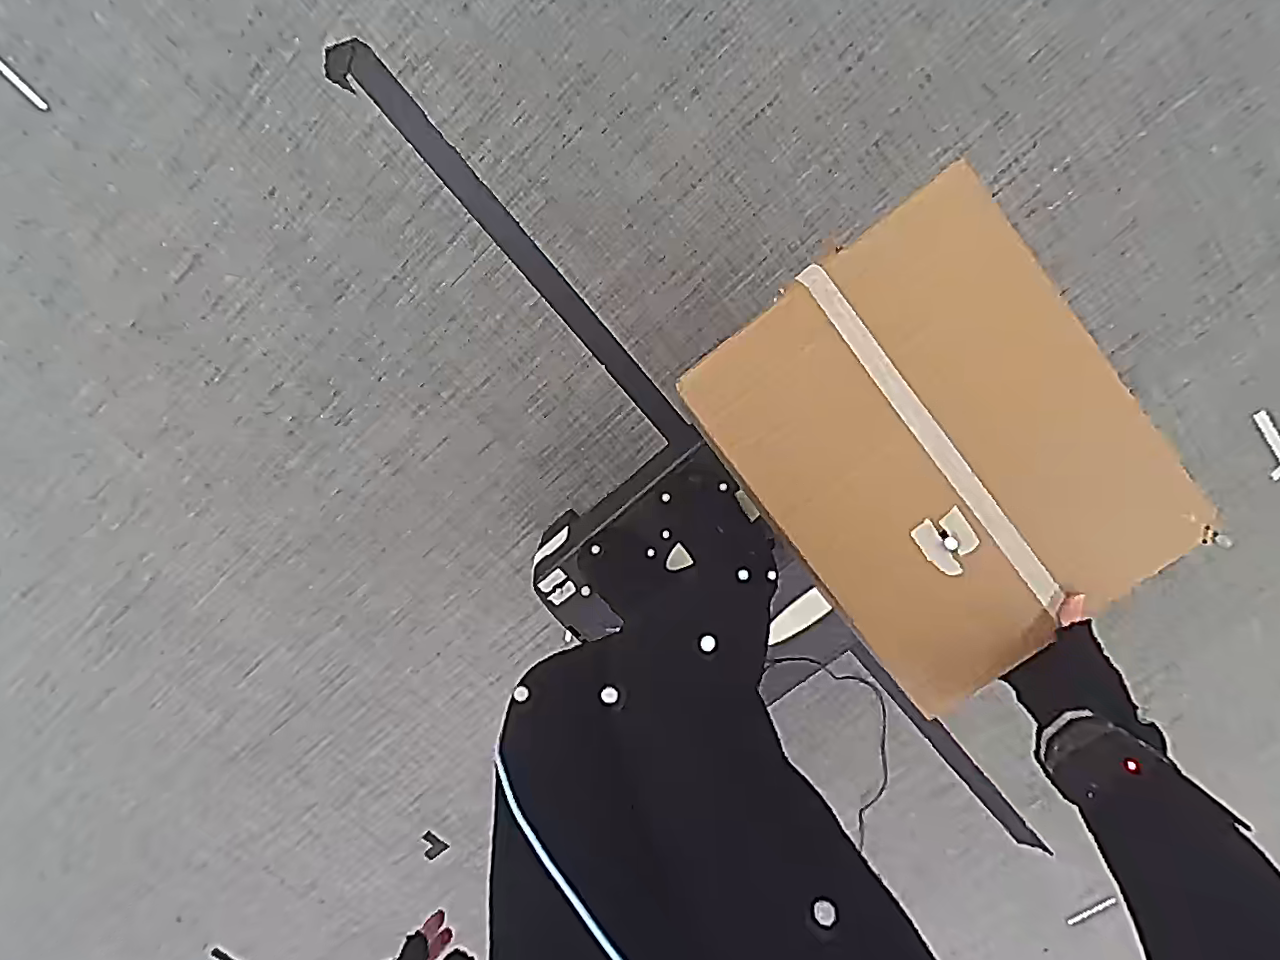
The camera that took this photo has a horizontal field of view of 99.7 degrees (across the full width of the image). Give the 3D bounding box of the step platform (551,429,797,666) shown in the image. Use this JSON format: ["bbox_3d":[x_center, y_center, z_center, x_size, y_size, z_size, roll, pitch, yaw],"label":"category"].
[{"bbox_3d":[0.160,0.019,0.959,0.684,0.204,0.286,-42,104,11],"label":"step platform"}]

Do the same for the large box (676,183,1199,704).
[{"bbox_3d":[0.283,-0.040,0.651,0.320,0.320,0.408,-38,94,8],"label":"large box"}]
